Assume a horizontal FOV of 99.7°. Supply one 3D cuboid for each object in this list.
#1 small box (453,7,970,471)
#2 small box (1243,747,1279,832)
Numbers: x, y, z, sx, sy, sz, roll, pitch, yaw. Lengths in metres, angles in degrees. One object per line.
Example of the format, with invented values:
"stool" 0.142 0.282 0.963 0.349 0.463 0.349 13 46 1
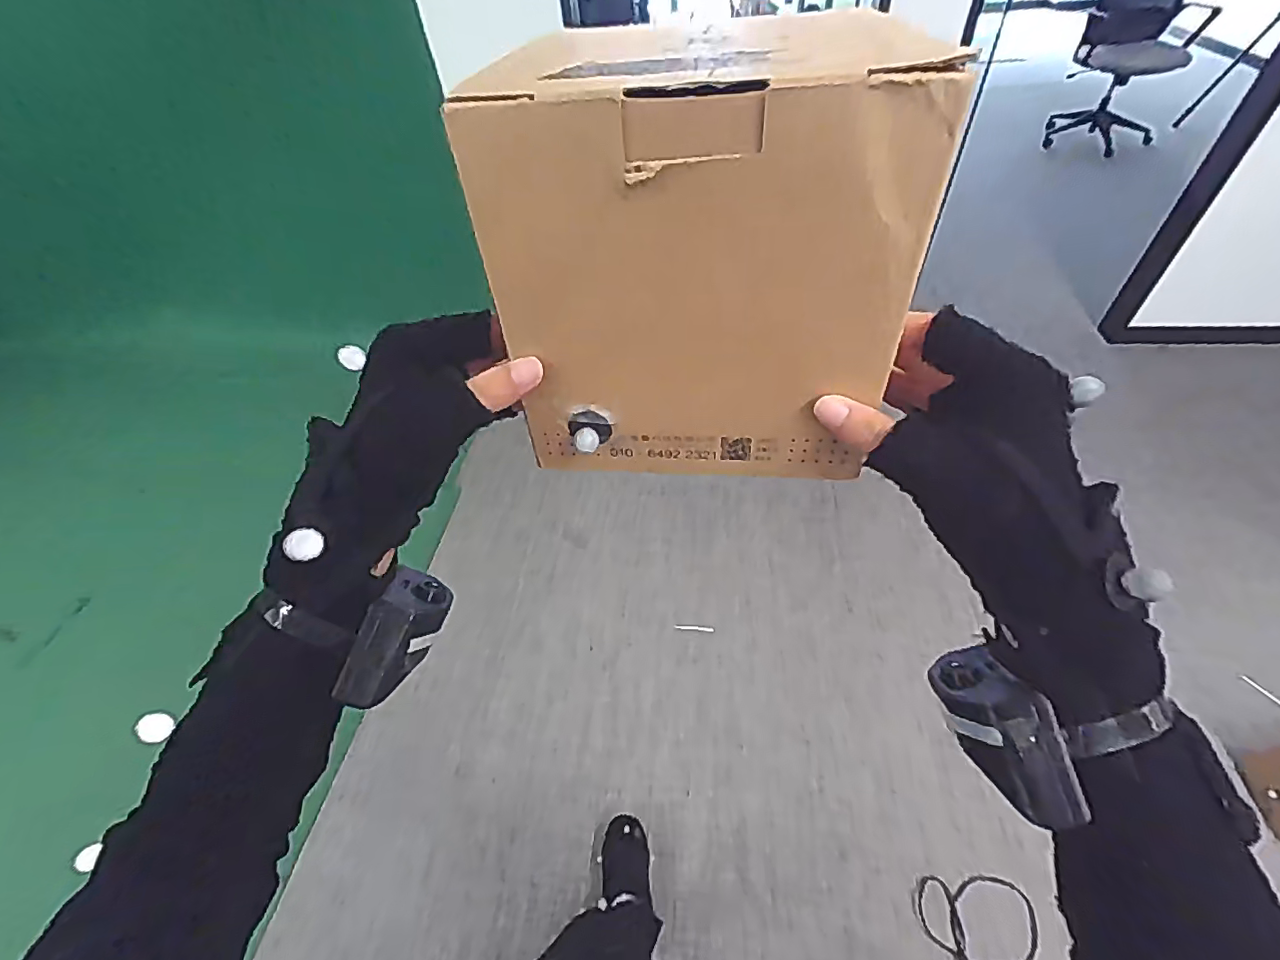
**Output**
"small box" 0.033 -0.120 0.281 0.168 0.176 0.179 2 45 7
"small box" 1.449 0.651 1.121 0.179 0.176 0.168 2 48 8
